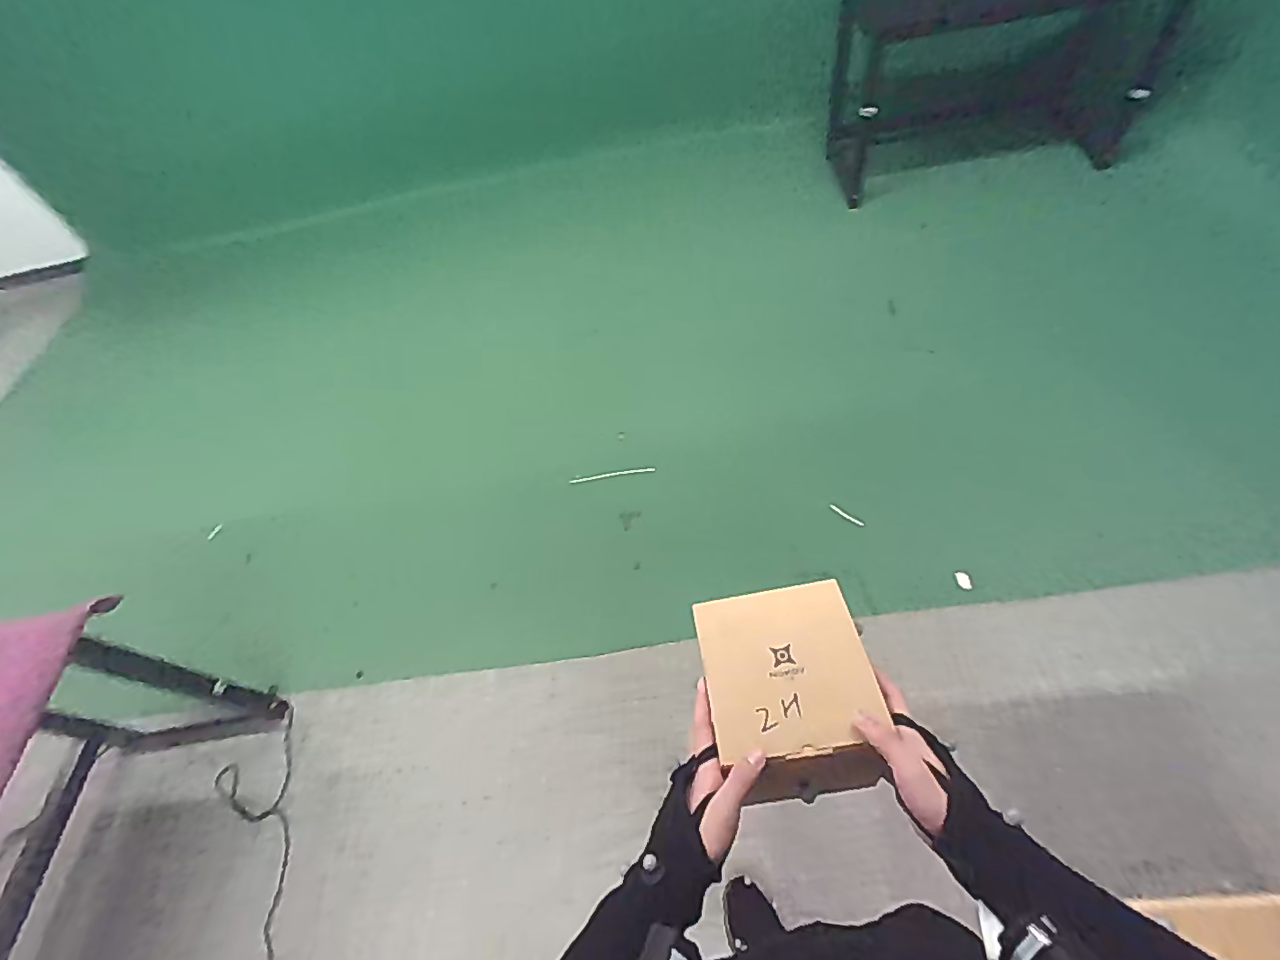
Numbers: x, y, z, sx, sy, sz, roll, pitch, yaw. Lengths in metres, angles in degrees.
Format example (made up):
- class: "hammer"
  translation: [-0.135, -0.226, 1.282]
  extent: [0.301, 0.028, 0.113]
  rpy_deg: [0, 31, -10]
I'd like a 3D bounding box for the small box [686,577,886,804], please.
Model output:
- class: "small box"
  translation: [0.153, 0.239, 0.611]
  extent: [0.168, 0.176, 0.179]
  rpy_deg: [-13, 46, 5]
